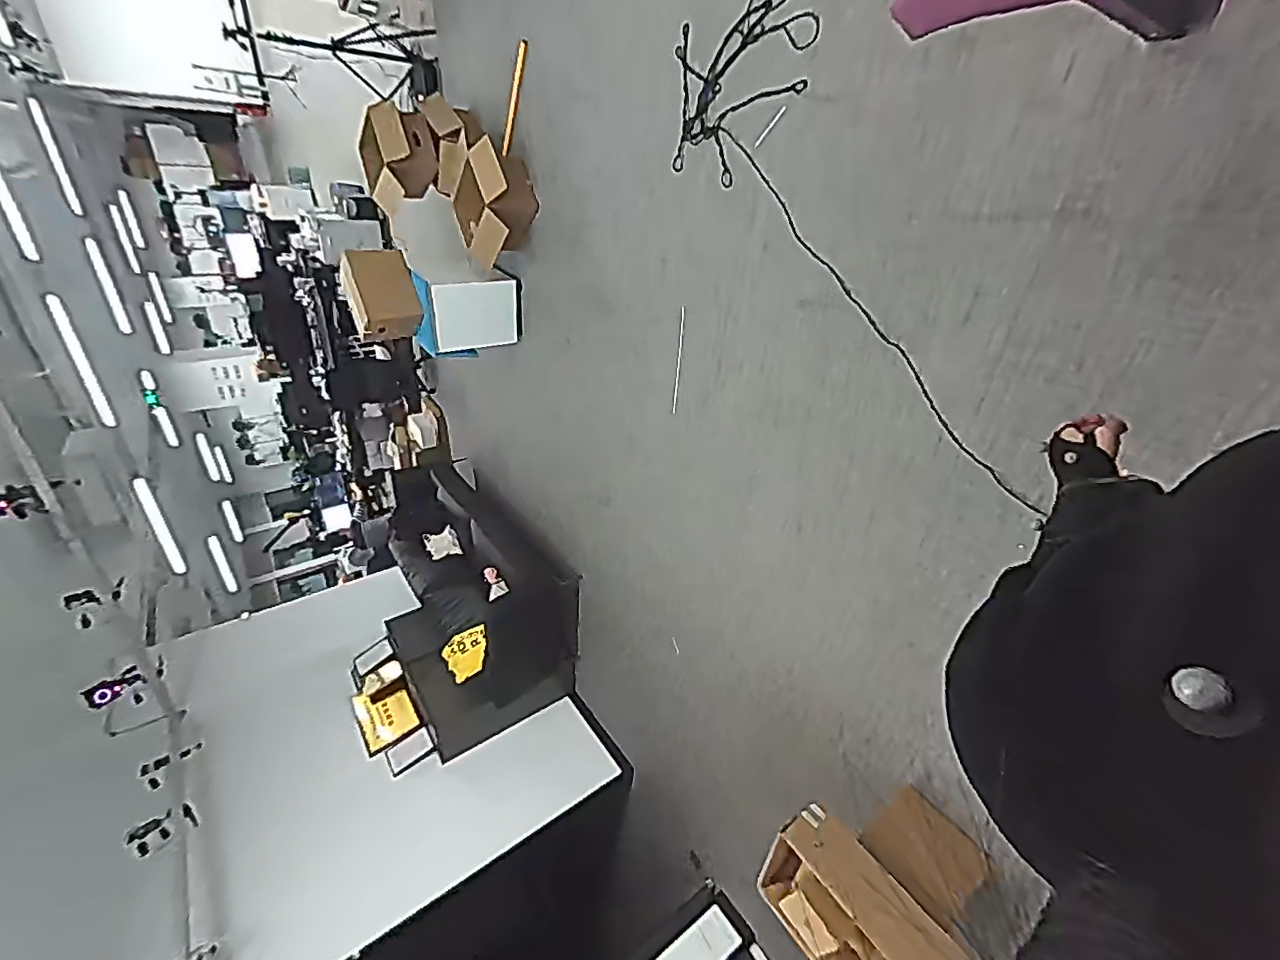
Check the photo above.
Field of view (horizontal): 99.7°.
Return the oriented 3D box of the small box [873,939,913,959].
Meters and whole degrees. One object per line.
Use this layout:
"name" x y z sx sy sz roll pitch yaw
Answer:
"small box" 0.723 1.475 1.538 0.168 0.176 0.179 34 131 43
